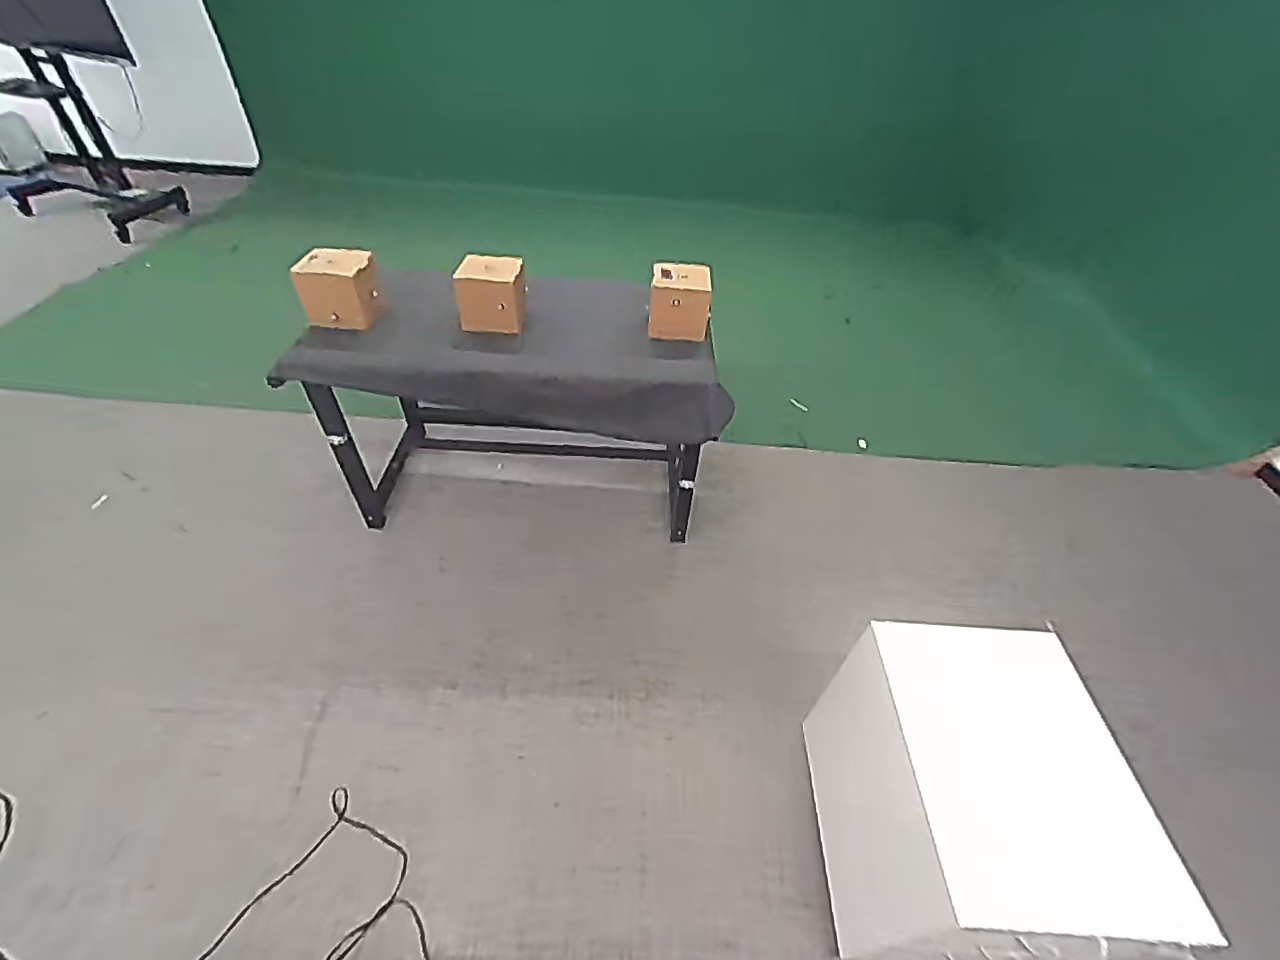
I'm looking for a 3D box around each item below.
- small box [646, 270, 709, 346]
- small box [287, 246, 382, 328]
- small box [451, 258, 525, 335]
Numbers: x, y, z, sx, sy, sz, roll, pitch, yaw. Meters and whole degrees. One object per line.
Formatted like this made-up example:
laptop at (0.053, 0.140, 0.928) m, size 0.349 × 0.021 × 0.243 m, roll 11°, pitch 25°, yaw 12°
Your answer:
small box at (0.113, -0.531, 1.676) m, size 0.179 × 0.176 × 0.168 m, roll 6°, pitch 44°, yaw -1°
small box at (-0.888, -0.567, 1.595) m, size 0.179 × 0.176 × 0.168 m, roll 5°, pitch 43°, yaw -3°
small box at (-0.451, -0.554, 1.639) m, size 0.179 × 0.176 × 0.168 m, roll 4°, pitch 42°, yaw -1°
